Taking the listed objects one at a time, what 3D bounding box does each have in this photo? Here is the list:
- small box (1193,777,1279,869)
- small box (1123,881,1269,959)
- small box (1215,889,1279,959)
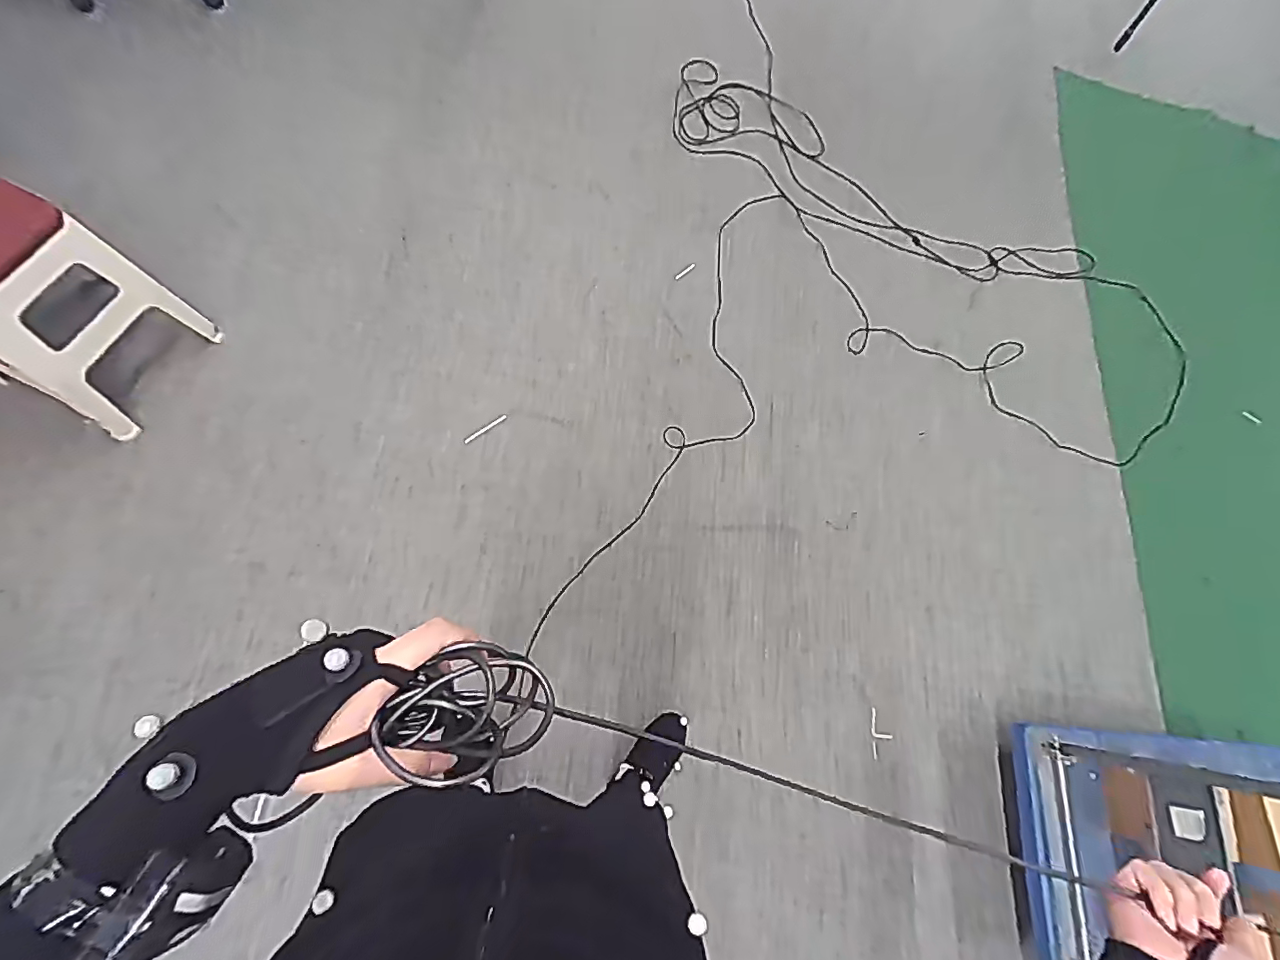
[{"bbox_3d":[1.549,0.854,1.354,0.179,0.176,0.168,5,73,-8],"label":"small box"},{"bbox_3d":[1.277,1.054,1.244,0.179,0.176,0.168,9,72,-6],"label":"small box"},{"bbox_3d":[1.542,1.094,1.276,0.179,0.176,0.168,5,71,-7],"label":"small box"}]
